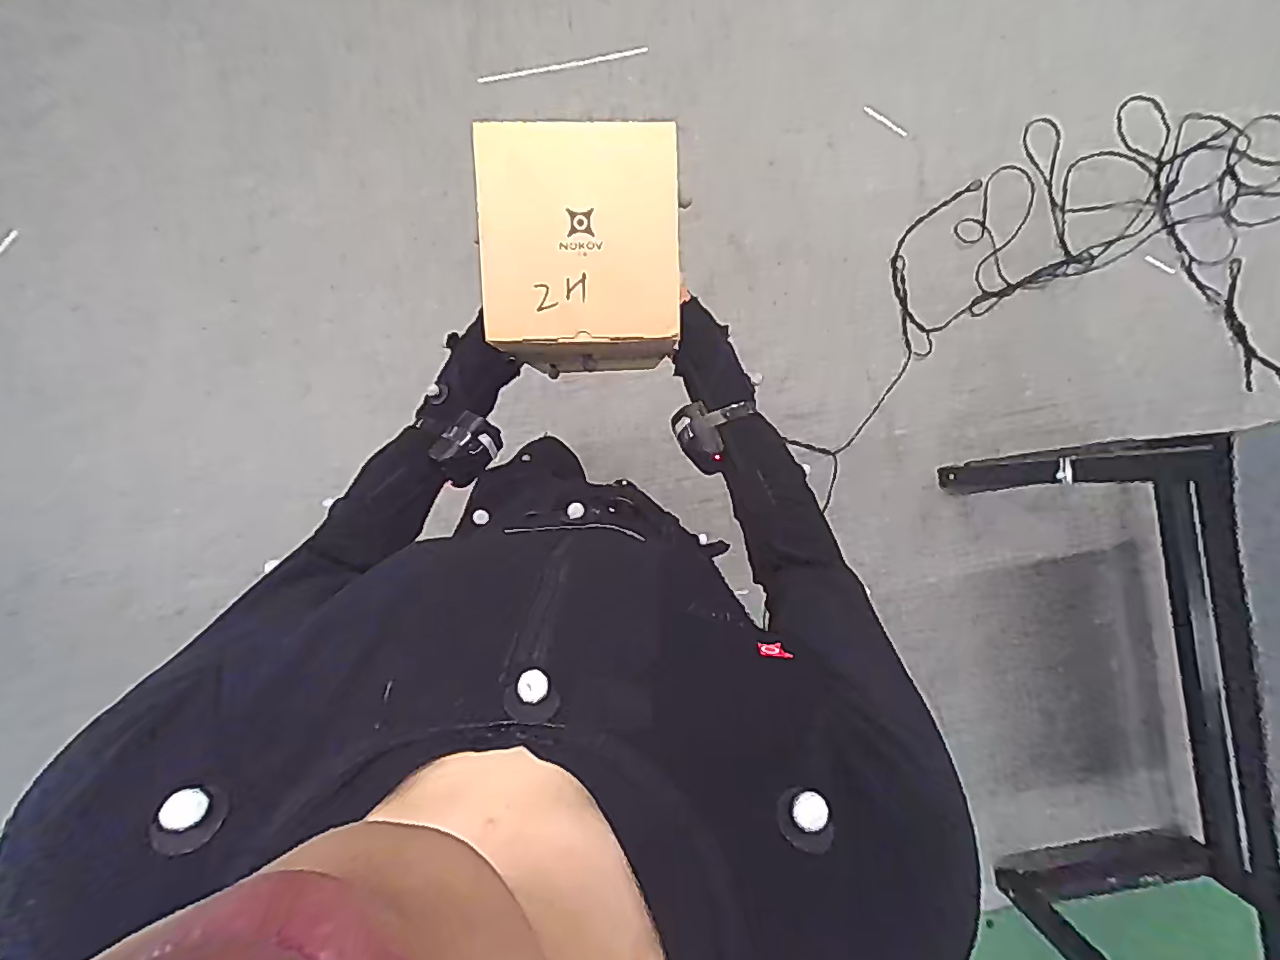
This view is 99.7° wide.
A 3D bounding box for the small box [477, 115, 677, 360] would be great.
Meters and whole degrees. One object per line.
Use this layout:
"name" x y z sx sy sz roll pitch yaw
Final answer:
"small box" -0.056 -0.217 0.527 0.168 0.176 0.179 -1 96 -3
